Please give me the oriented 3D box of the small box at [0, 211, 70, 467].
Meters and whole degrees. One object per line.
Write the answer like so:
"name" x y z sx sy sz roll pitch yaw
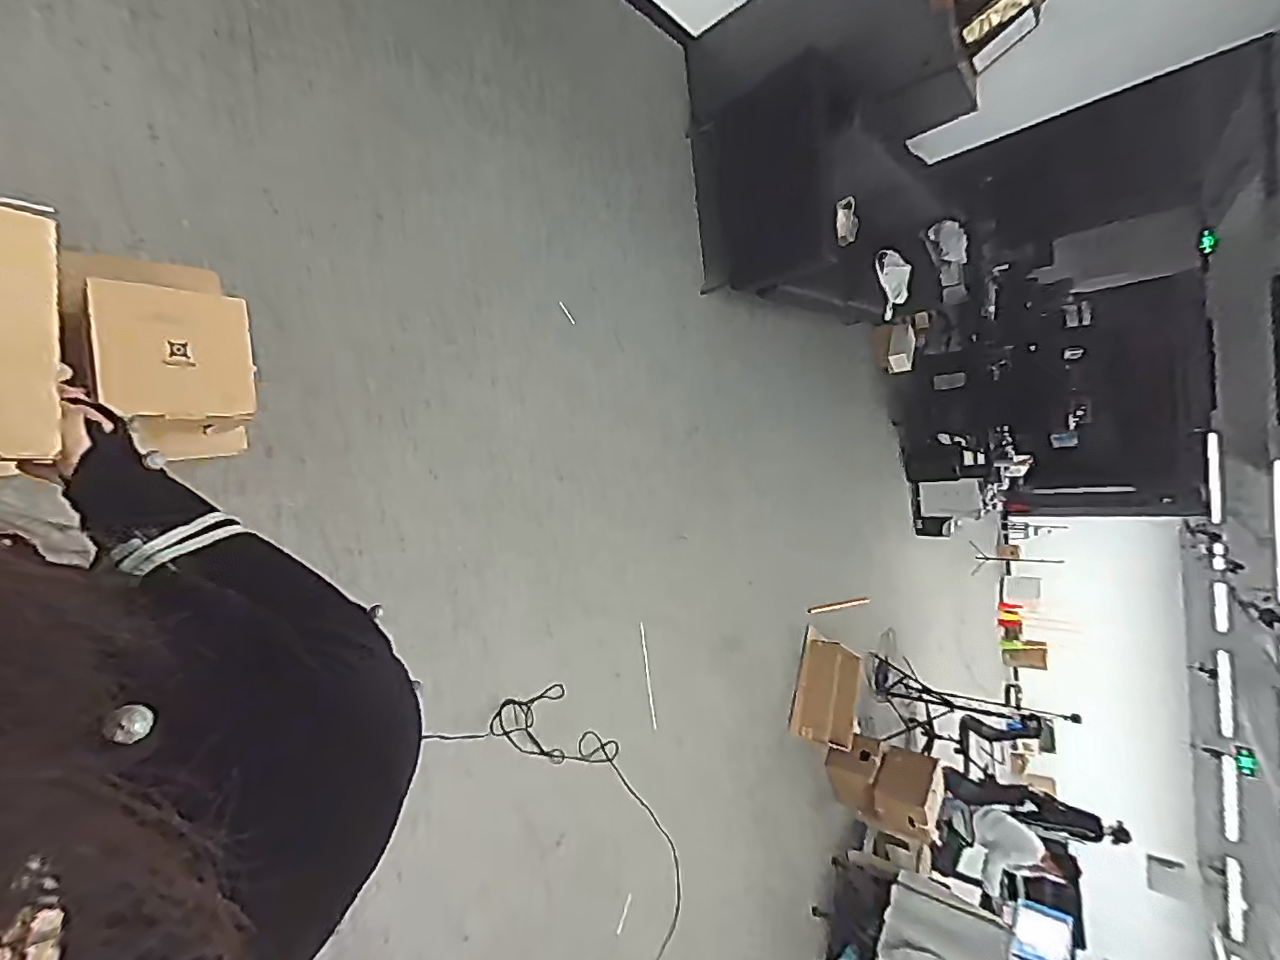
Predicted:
"small box" -0.530 -0.099 0.380 0.168 0.176 0.179 -3 95 -52

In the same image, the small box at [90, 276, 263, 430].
"small box" -0.668 -0.167 0.780 0.168 0.176 0.179 -6 91 -48
